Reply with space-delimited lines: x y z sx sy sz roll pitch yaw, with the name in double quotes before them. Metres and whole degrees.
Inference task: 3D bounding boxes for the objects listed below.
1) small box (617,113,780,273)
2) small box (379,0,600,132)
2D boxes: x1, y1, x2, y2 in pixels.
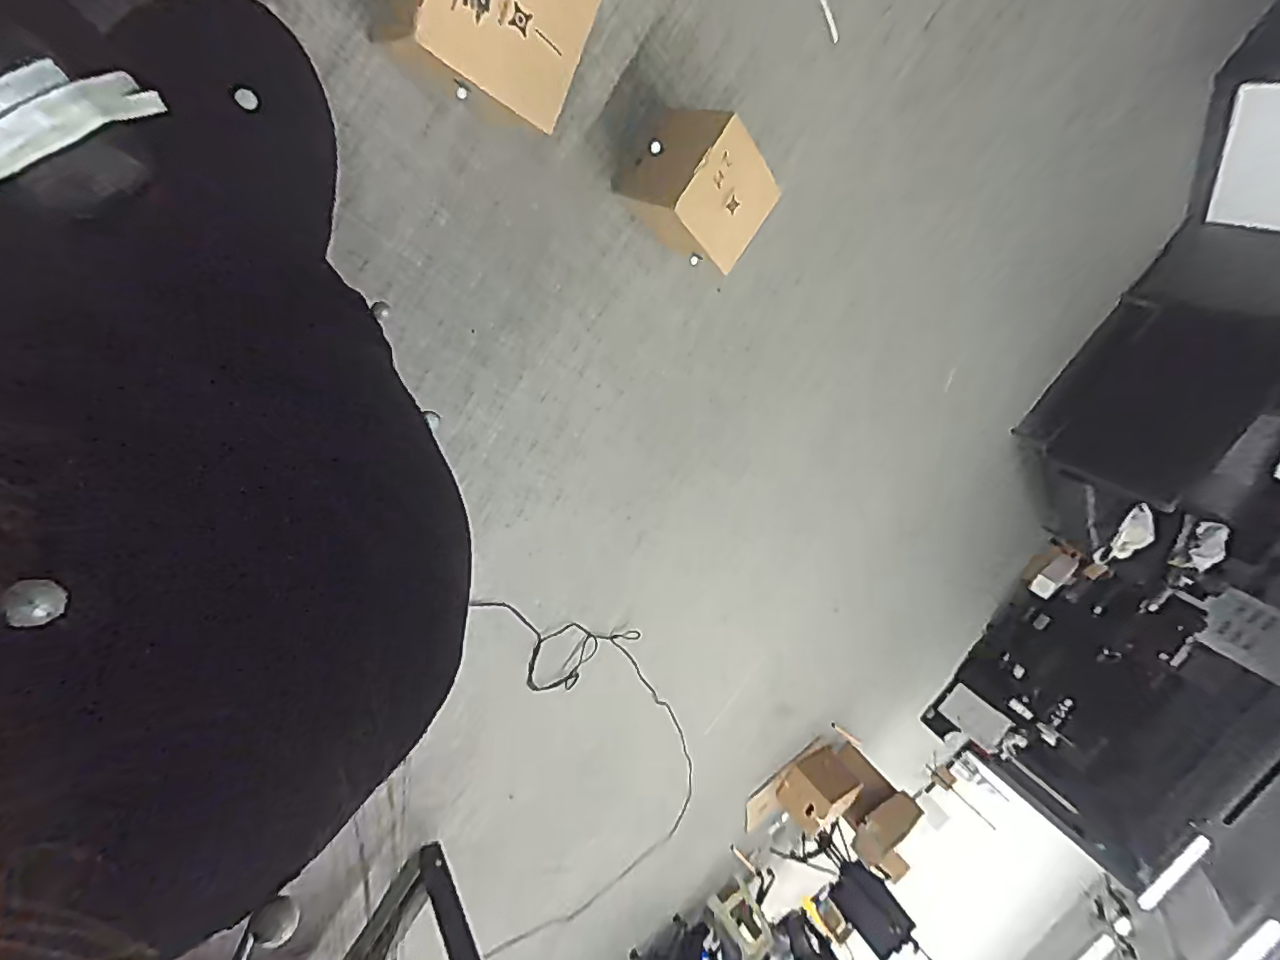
"small box" 0.096 -0.489 0.915 0.179 0.176 0.168 27 99 -48
"small box" -0.183 -0.543 0.637 0.179 0.176 0.168 9 113 -45
